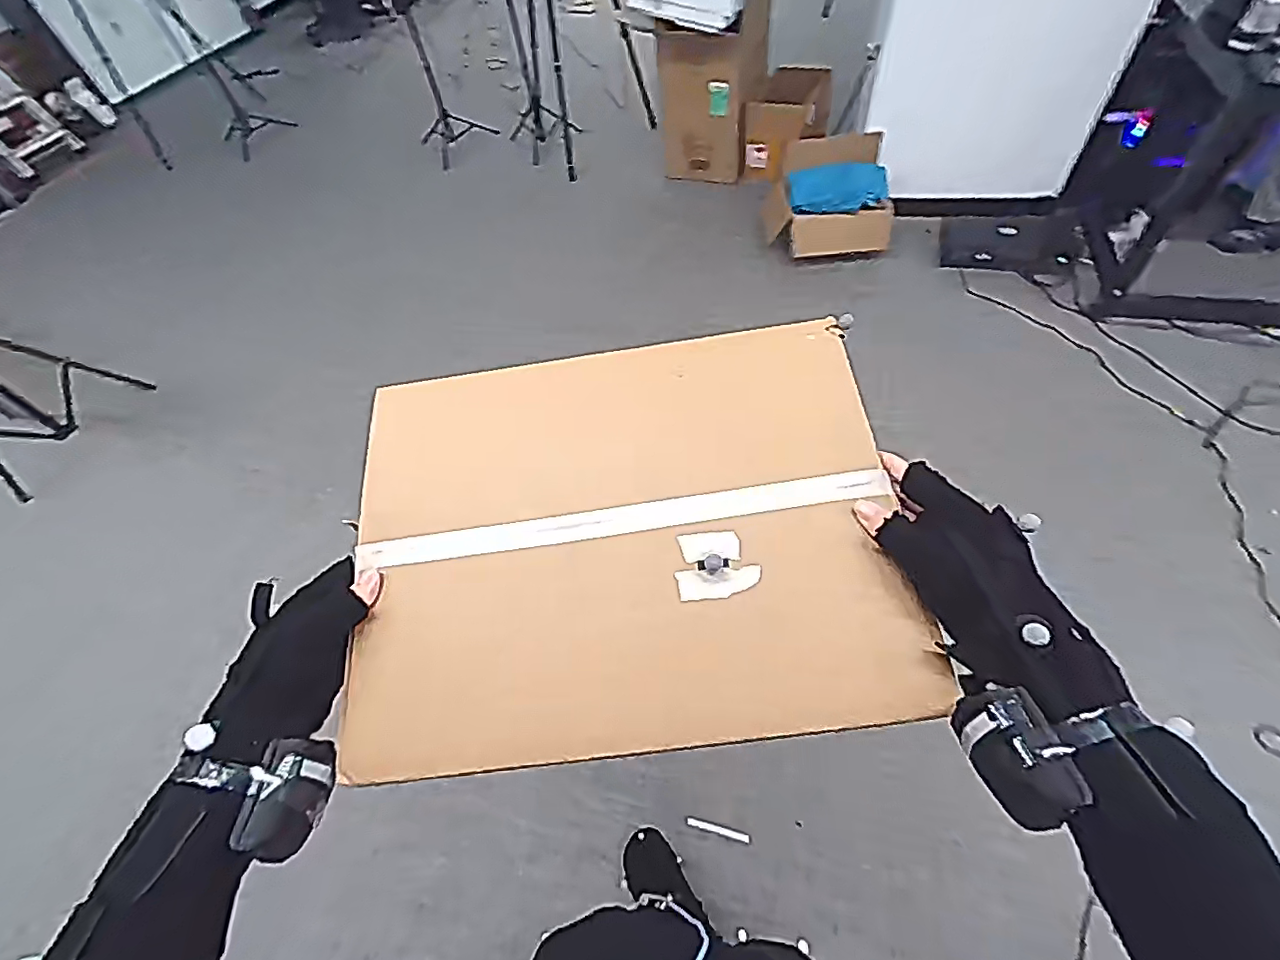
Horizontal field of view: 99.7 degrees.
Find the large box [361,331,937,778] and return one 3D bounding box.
[{"bbox_3d":[-0.002,0.096,0.559,0.408,0.320,0.320,-9,66,3],"label":"large box"}]
